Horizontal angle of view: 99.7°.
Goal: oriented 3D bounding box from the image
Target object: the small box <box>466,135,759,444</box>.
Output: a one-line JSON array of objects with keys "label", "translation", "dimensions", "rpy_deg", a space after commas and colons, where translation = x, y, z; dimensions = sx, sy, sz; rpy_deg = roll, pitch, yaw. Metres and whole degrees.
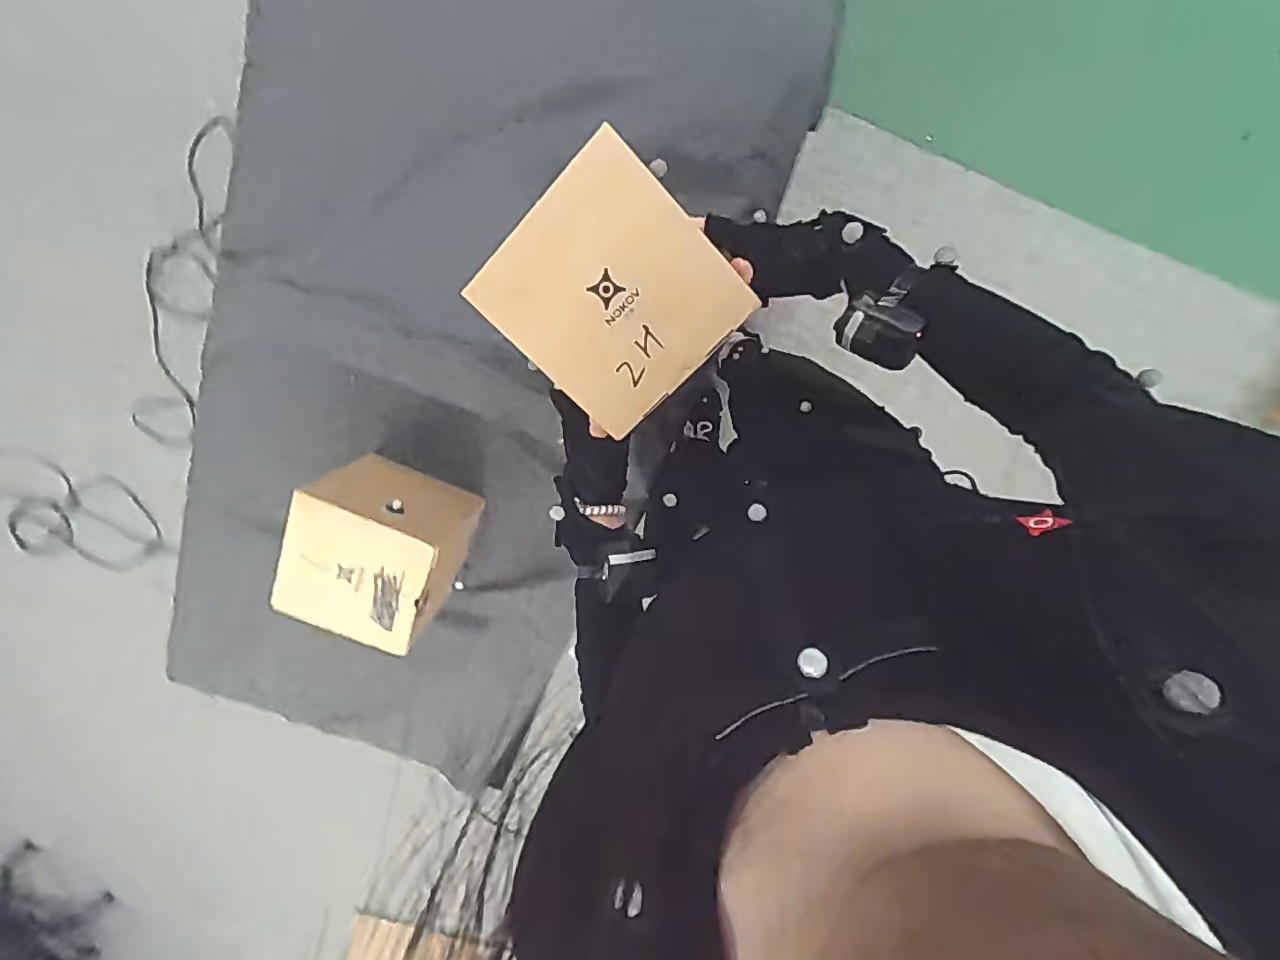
[{"label": "small box", "translation": [-0.022, -0.165, 0.500], "dimensions": [0.168, 0.176, 0.179], "rpy_deg": [-41, 106, 14]}]

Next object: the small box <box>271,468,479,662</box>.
[{"label": "small box", "translation": [-0.336, 0.100, 0.717], "dimensions": [0.179, 0.176, 0.168], "rpy_deg": [22, 107, -3]}]
